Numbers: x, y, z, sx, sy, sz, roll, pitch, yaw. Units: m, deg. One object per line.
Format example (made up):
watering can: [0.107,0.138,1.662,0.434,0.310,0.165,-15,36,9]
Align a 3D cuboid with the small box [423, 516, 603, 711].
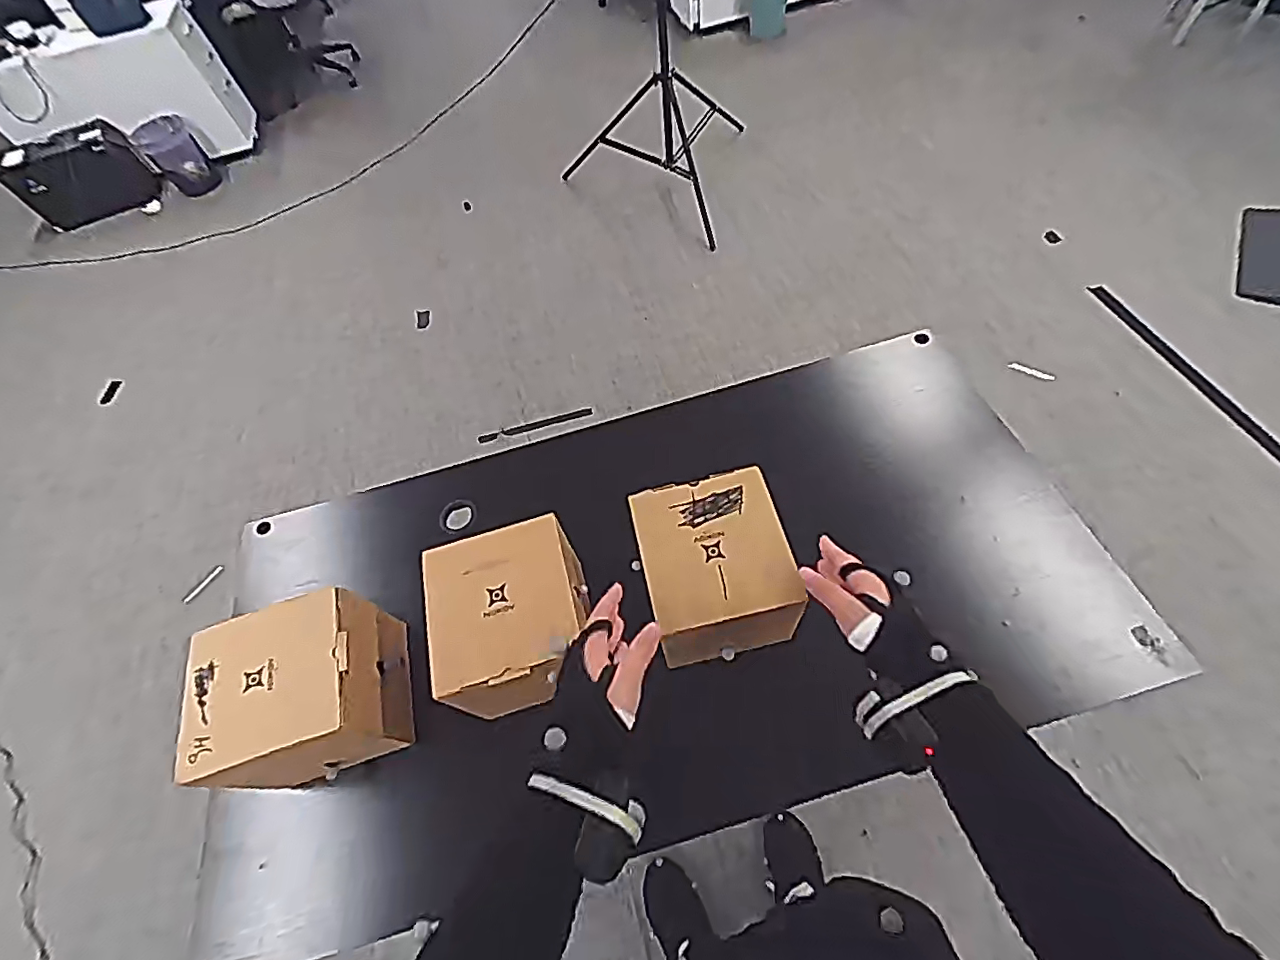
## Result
small box: [-0.152,0.176,0.678,0.168,0.176,0.179,-17,58,-4]

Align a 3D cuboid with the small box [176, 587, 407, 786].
small box: [-0.401,0.256,0.659,0.179,0.176,0.168,-17,59,-5]

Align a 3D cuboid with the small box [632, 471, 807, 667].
small box: [0.090,0.117,0.682,0.168,0.176,0.179,-13,59,-1]
